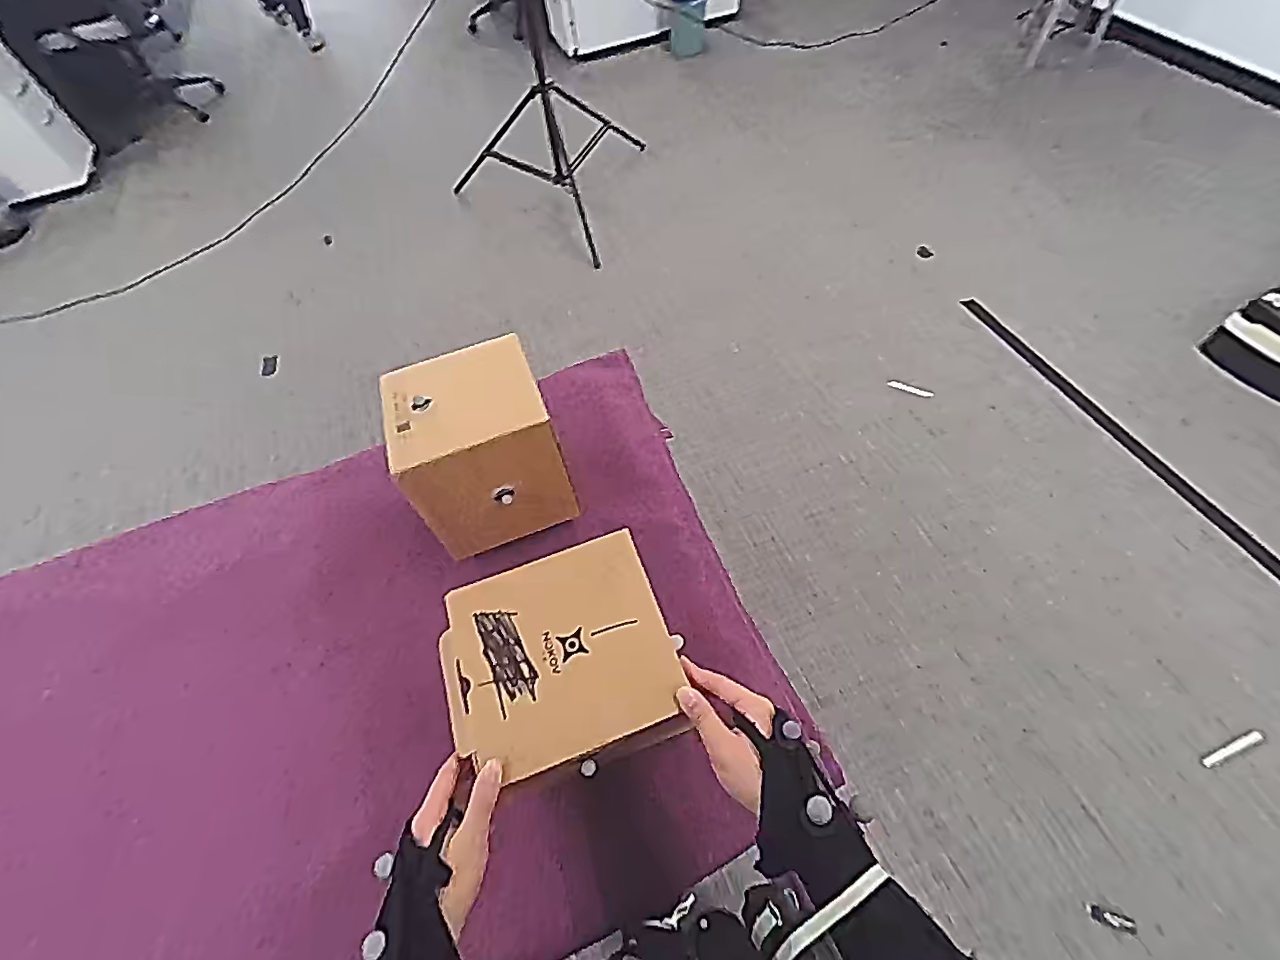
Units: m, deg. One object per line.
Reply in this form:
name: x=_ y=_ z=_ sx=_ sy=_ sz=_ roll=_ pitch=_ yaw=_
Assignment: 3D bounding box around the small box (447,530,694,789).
small box: x=-0.057 y=0.178 z=0.516 sx=0.179 sy=0.176 sz=0.168 roll=-20 pitch=61 yaw=-7
